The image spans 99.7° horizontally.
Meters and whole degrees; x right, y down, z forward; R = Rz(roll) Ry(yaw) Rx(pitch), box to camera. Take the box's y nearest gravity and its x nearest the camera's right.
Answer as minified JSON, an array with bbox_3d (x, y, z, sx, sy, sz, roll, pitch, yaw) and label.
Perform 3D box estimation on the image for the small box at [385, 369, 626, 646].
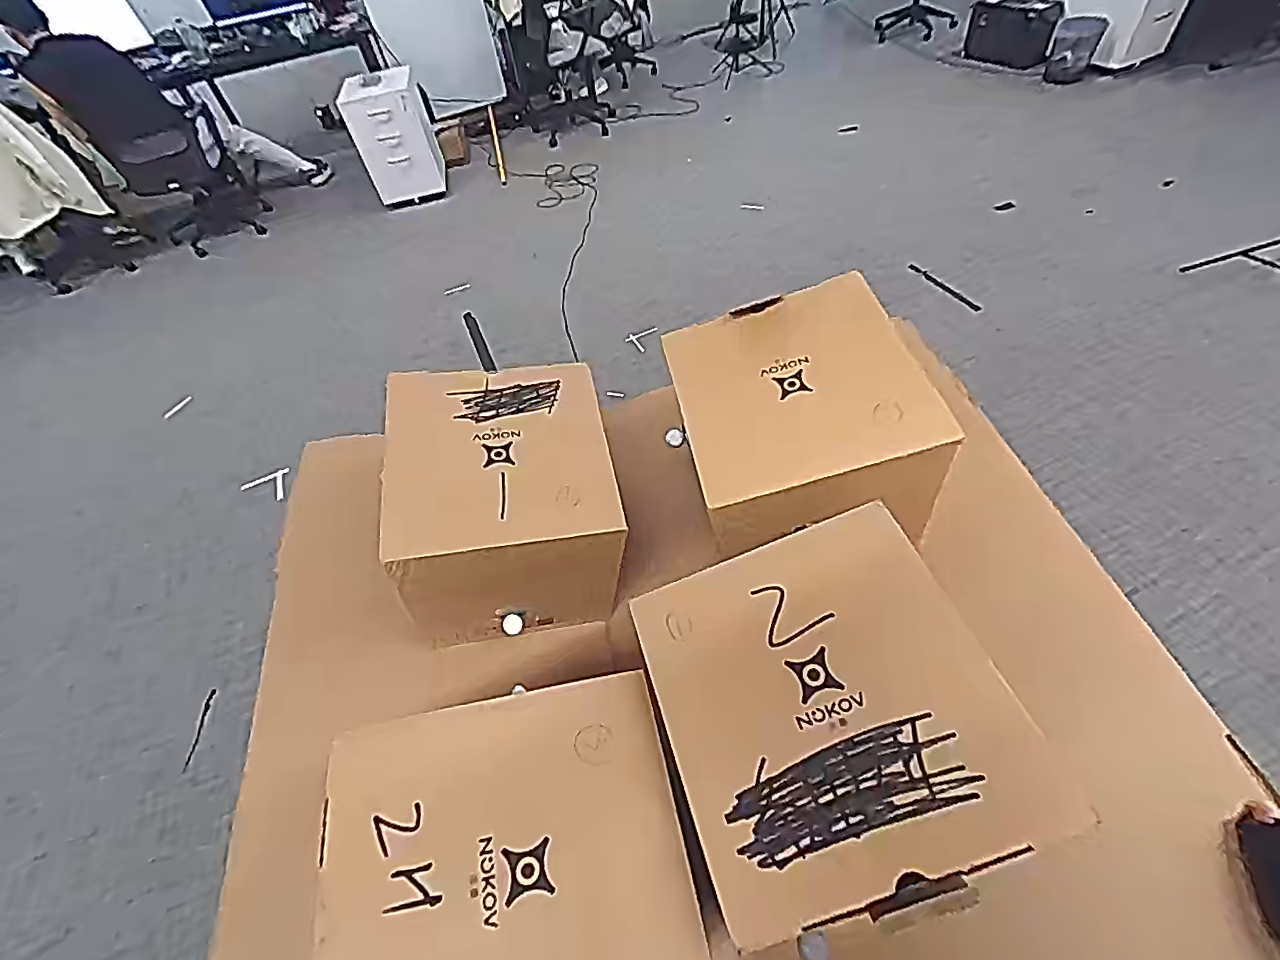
[{"bbox_3d":[-0.115,0.025,0.483,0.168,0.176,0.179,-7,55,-12],"label":"small box"}]

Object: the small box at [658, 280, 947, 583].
[{"bbox_3d":[0.127,-0.027,0.460,0.168,0.176,0.179,-17,54,7],"label":"small box"}]
